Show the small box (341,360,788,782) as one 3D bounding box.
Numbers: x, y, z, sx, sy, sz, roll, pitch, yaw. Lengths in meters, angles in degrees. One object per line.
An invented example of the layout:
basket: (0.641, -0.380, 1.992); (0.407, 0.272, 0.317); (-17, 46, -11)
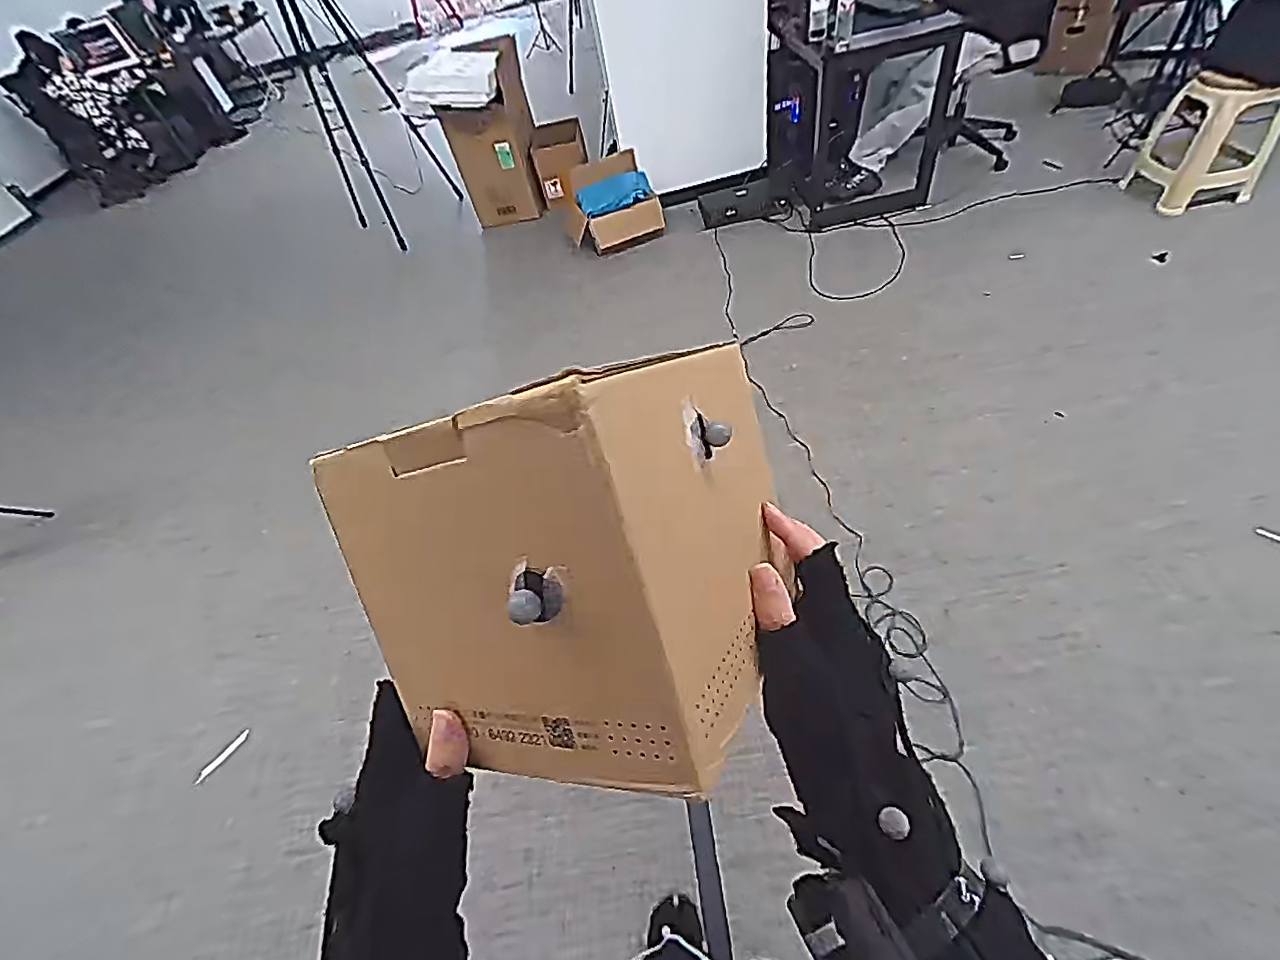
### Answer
small box: (-0.025, 0.042, 0.319); (0.168, 0.176, 0.179); (-11, 10, 32)
